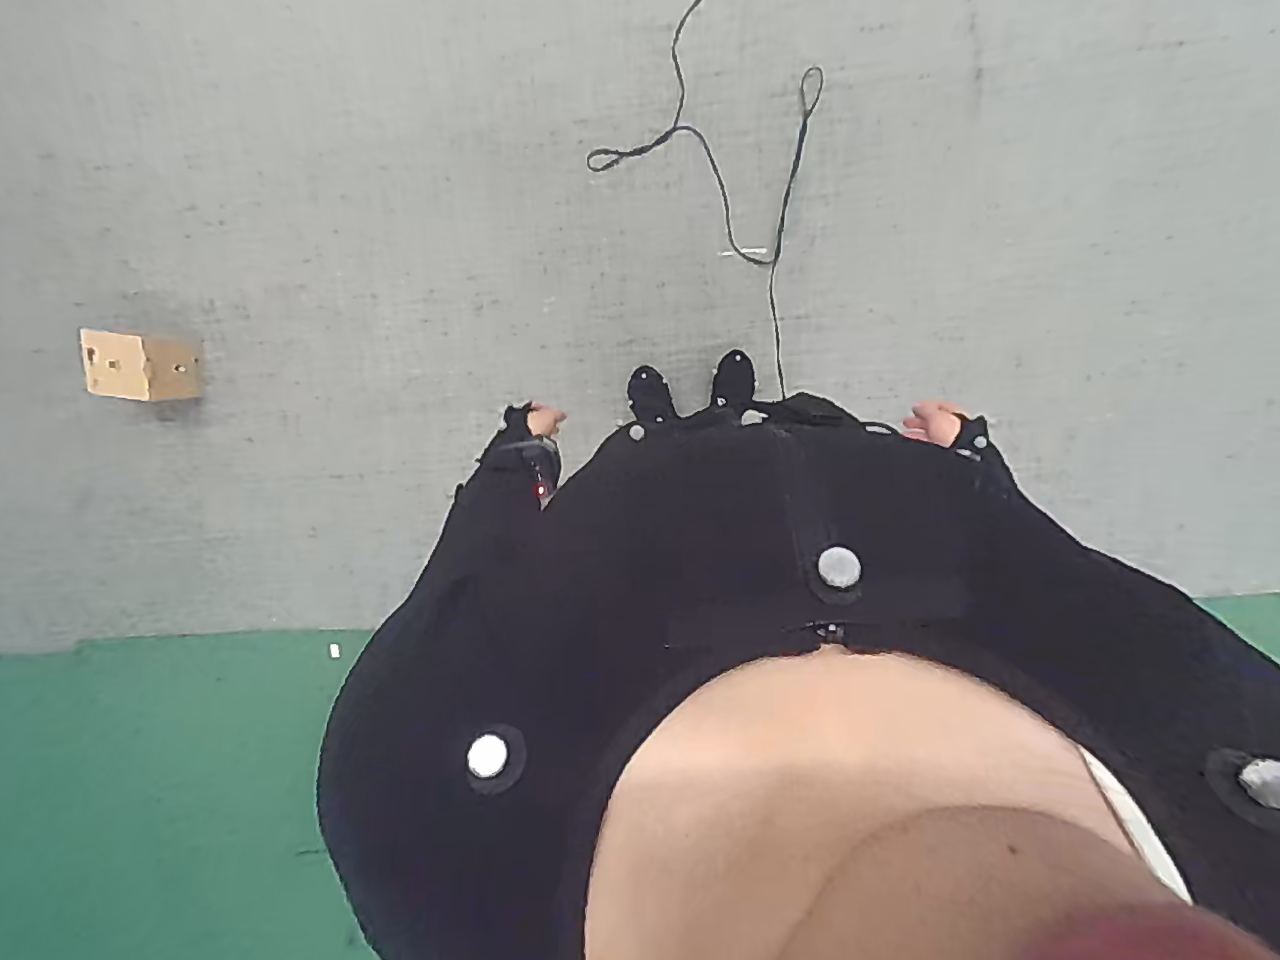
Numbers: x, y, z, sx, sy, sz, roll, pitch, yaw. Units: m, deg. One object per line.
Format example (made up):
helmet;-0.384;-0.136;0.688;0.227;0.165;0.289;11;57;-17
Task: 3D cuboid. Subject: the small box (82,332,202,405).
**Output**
small box;-1.329;-0.304;1.460;0.179;0.176;0.168;8;104;2
